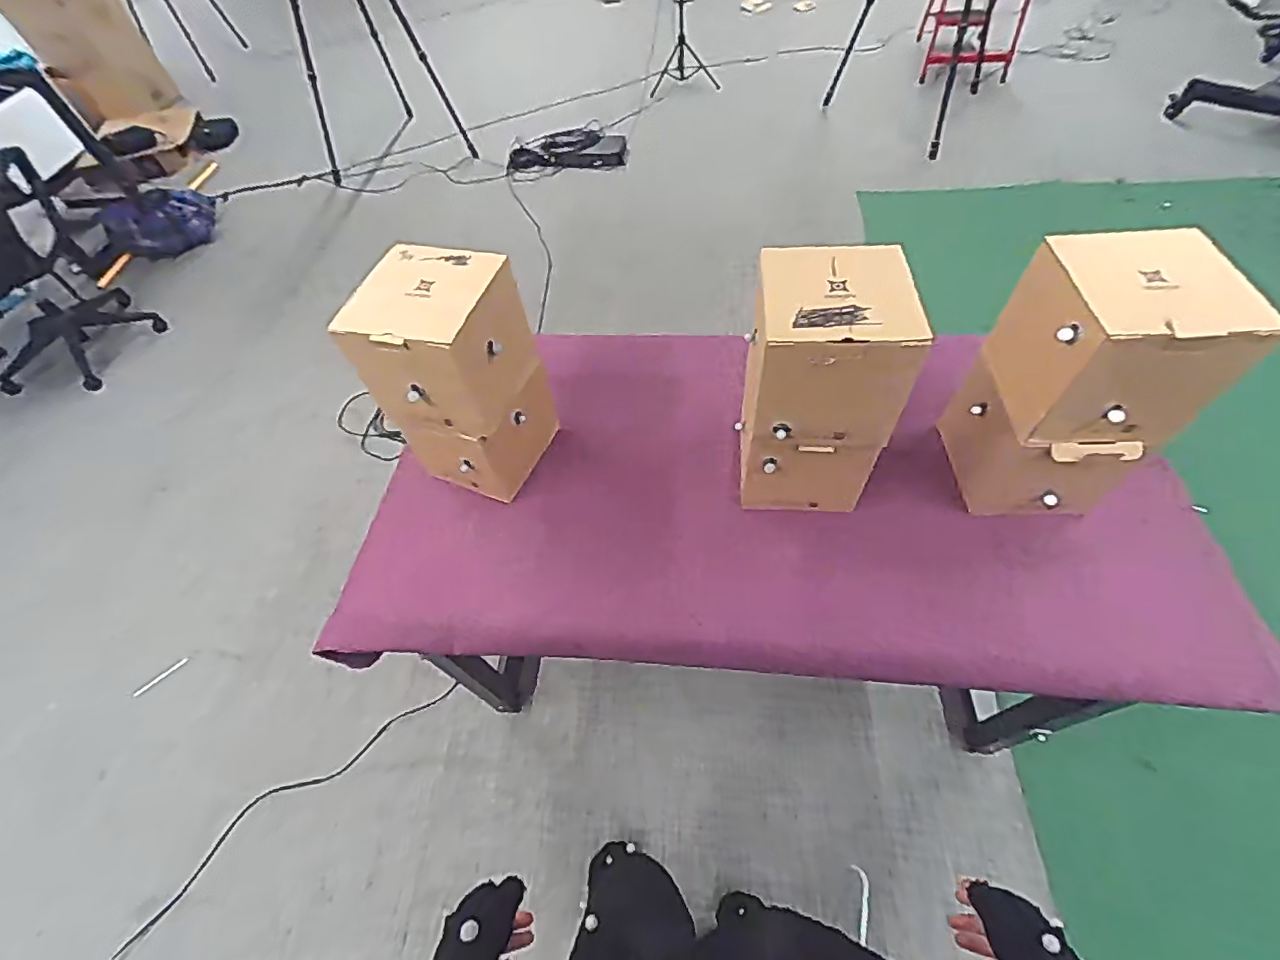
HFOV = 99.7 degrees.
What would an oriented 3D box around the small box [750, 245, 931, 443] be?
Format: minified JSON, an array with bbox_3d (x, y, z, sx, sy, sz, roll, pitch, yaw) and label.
[{"bbox_3d":[0.227,-0.160,0.662,0.168,0.176,0.179,2,54,6],"label":"small box"}]

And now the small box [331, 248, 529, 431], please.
[{"bbox_3d":[-0.262,-0.186,0.731,0.168,0.176,0.179,7,57,11],"label":"small box"}]

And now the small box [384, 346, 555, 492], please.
[{"bbox_3d":[-0.251,-0.107,0.852,0.168,0.176,0.179,18,59,16],"label":"small box"}]

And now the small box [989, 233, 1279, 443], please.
[{"bbox_3d":[0.550,-0.163,0.635,0.168,0.176,0.179,0,56,5],"label":"small box"}]

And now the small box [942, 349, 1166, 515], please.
[{"bbox_3d":[0.559,-0.067,0.767,0.168,0.176,0.179,-1,56,6],"label":"small box"}]
